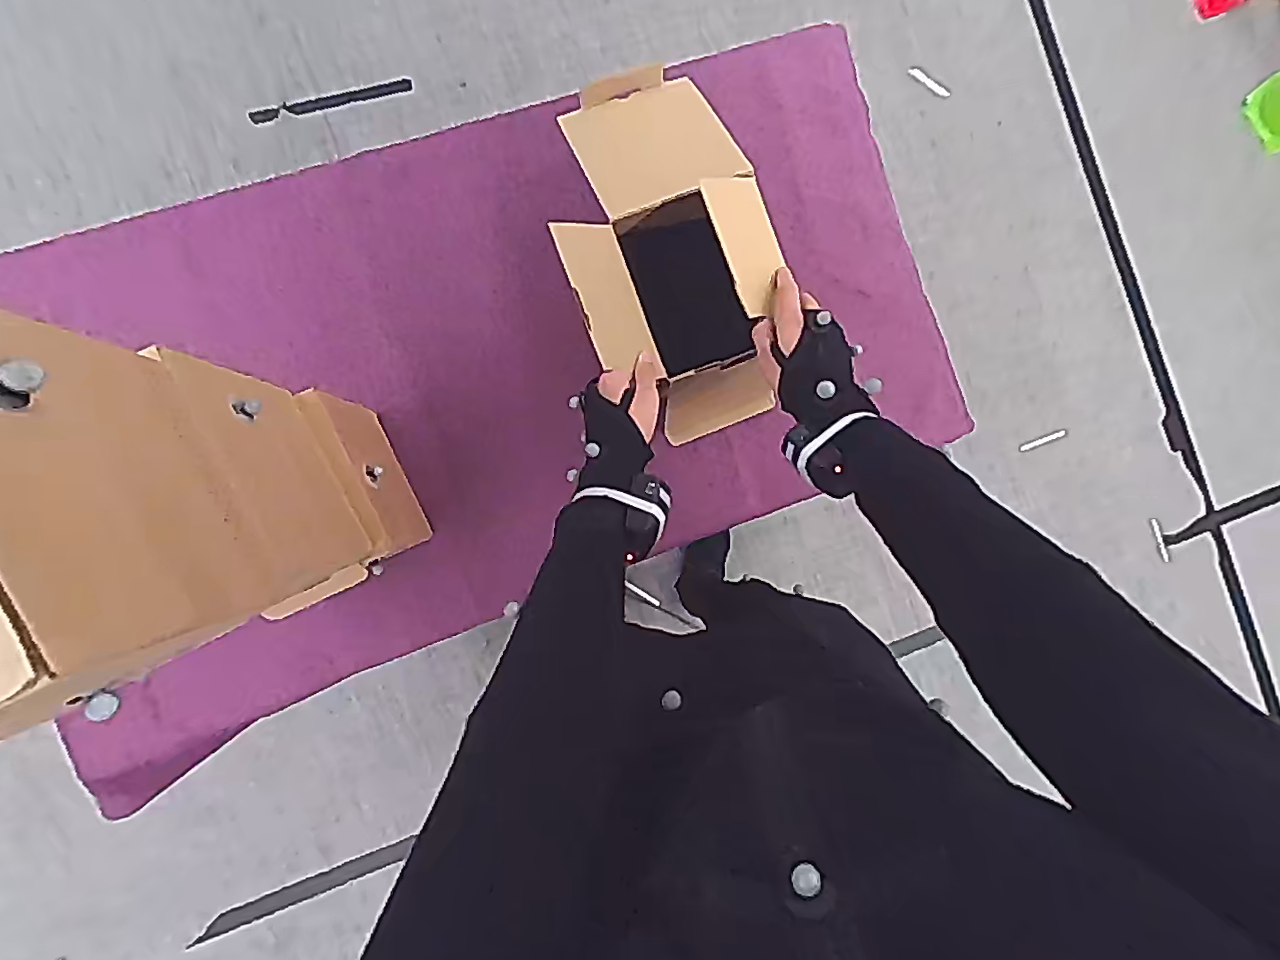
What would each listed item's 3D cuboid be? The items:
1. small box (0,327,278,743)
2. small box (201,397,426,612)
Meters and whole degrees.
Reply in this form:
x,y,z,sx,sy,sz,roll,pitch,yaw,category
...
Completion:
x,y,z,sx,sy,sz,roll,pitch,yaw,category
-0.332,0.038,0.264,0.168,0.176,0.179,-27,92,-6,small box
-0.362,0.028,0.593,0.168,0.176,0.179,-25,92,-7,small box
